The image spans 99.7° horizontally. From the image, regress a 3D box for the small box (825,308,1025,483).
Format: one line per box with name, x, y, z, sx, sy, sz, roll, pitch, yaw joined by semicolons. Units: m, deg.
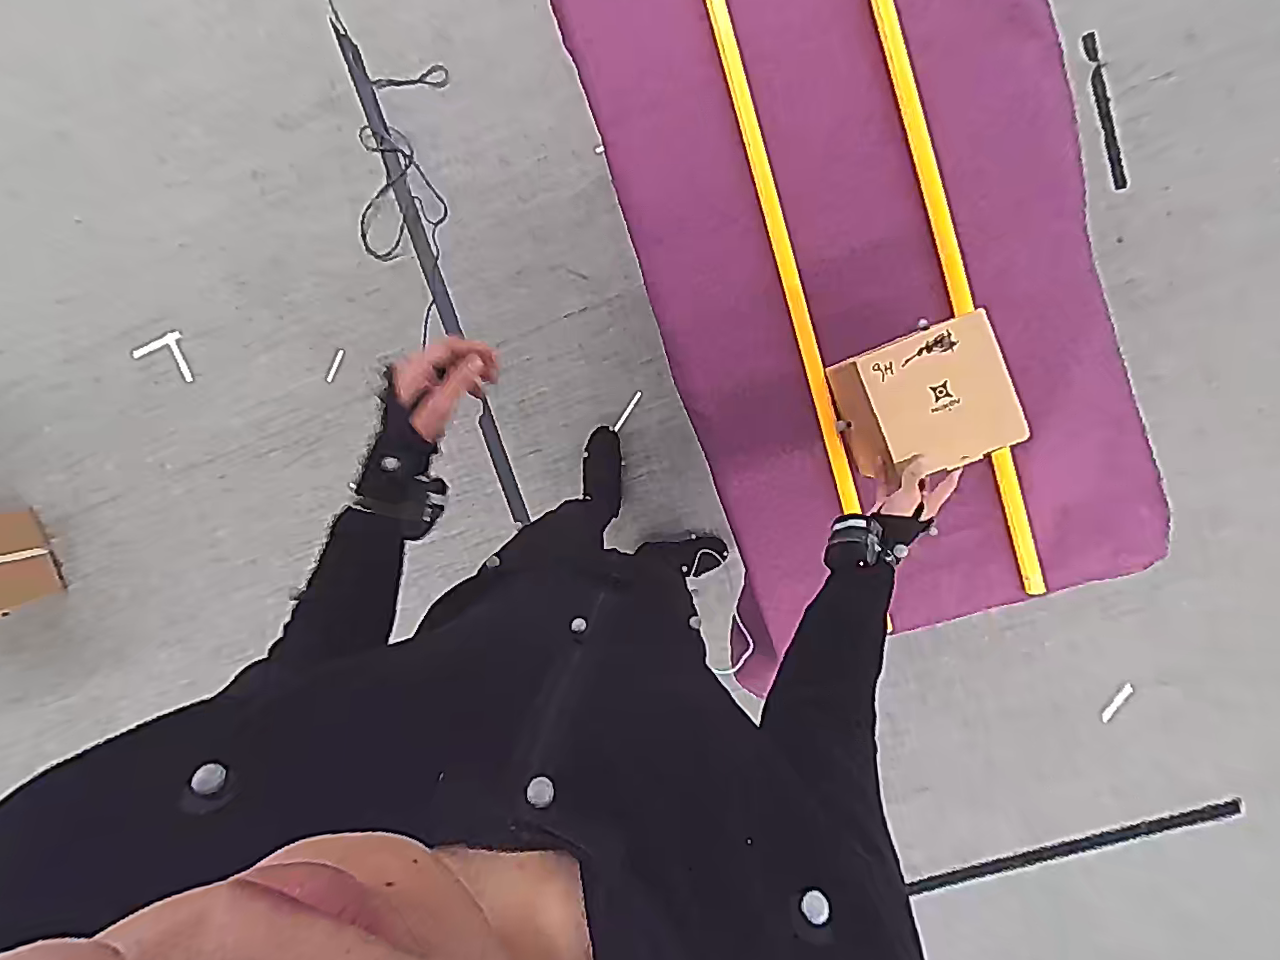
small box;0.381;-0.115;0.753;0.168;0.176;0.179;-22;96;7
